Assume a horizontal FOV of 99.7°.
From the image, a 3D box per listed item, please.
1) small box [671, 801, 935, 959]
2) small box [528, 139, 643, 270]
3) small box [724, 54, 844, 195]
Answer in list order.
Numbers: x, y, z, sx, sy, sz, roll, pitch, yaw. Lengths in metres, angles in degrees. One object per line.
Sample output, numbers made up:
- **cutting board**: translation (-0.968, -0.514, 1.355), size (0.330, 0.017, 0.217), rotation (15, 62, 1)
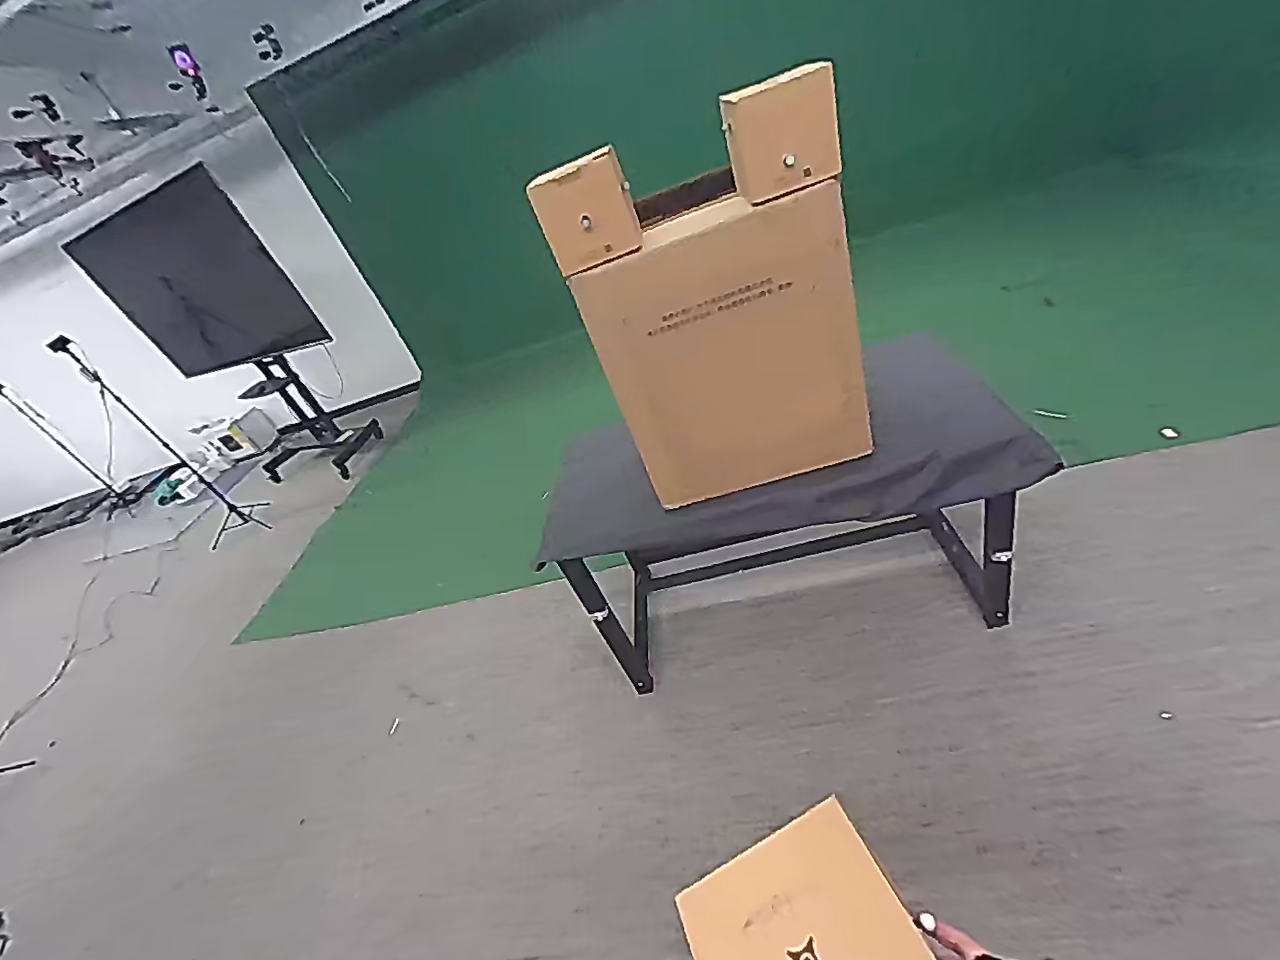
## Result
- **small box**: translation (0.155, 0.412, 0.441), size (0.168, 0.176, 0.179), rotation (-32, 35, 1)
- **small box**: translation (-0.097, -0.536, 1.063), size (0.168, 0.176, 0.179), rotation (-17, 35, 12)
- **small box**: translation (0.259, -0.641, 0.985), size (0.168, 0.176, 0.179), rotation (-16, 36, 11)
